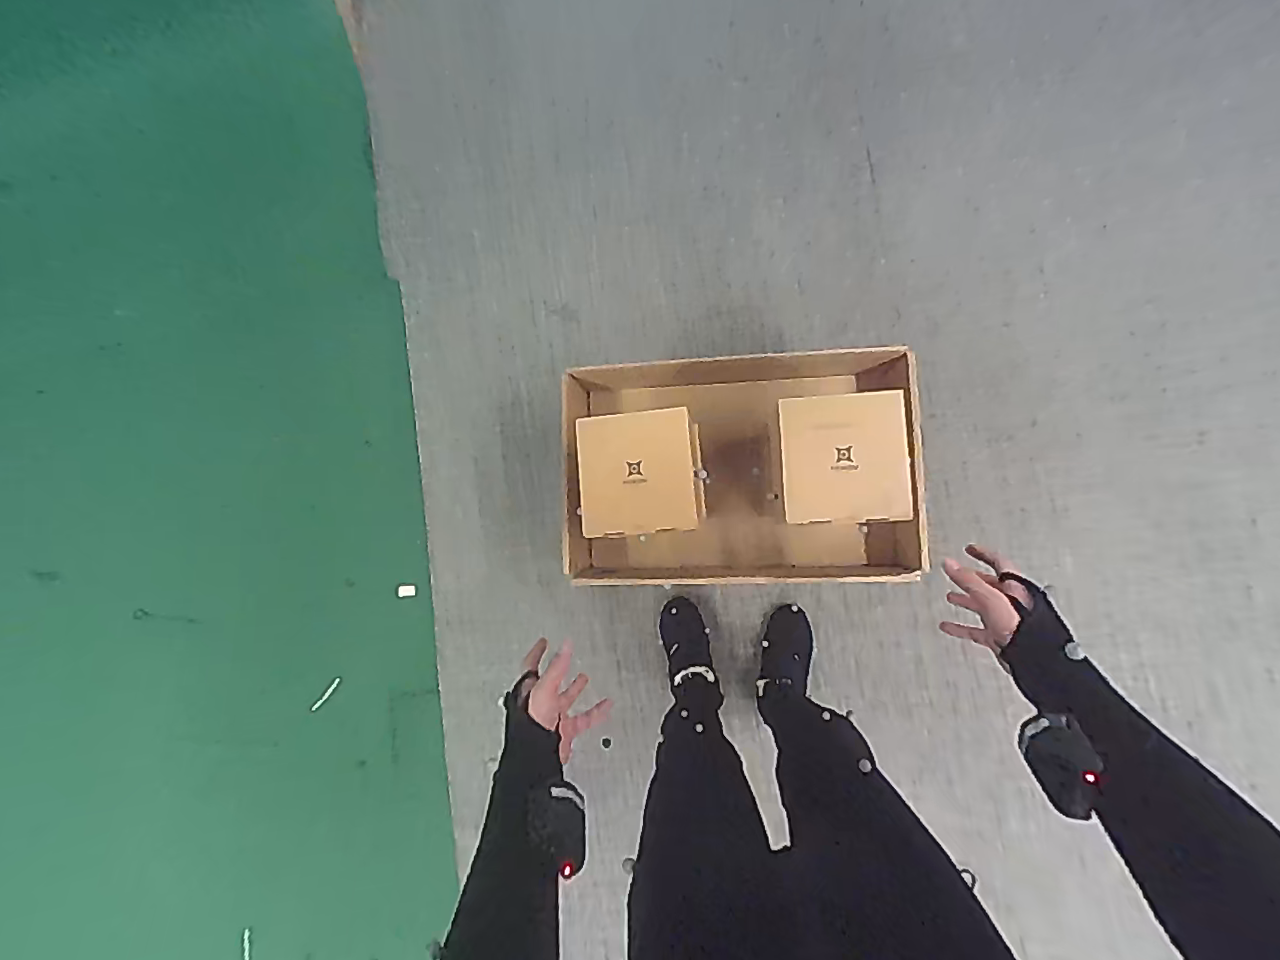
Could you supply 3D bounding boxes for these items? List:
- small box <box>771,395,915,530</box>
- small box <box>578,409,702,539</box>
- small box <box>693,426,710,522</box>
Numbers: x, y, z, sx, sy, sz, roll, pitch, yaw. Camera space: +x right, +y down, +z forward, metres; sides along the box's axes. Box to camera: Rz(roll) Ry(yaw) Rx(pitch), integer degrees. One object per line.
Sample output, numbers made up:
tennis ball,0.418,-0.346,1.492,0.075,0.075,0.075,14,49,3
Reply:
small box,0.285,-0.016,0.791,0.168,0.176,0.179,-2,84,8
small box,0.006,-0.001,0.836,0.168,0.176,0.179,-5,85,8
small box,0.034,0.003,0.997,0.179,0.176,0.168,-4,84,8
